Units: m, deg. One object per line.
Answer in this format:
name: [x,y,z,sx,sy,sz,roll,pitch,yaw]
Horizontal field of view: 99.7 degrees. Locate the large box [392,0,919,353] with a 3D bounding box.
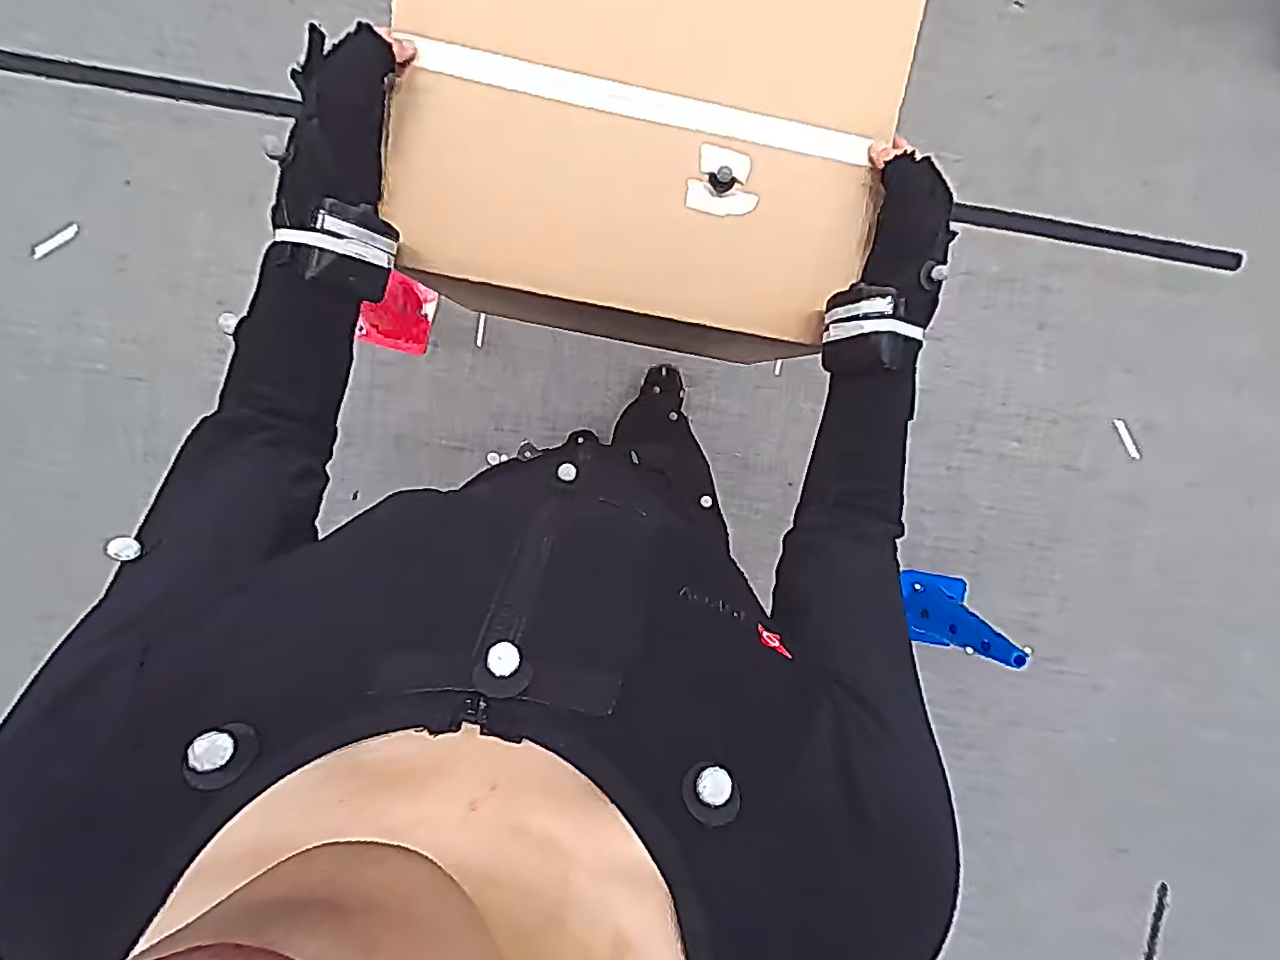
large box: [0.000,-0.332,0.583,0.408,0.320,0.320,9,100,-6]

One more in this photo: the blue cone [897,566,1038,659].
blue cone: [0.839,0.359,1.371,0.192,0.380,0.193,11,95,-4]

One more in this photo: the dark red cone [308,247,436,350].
dark red cone: [-0.623,-0.434,1.212,0.201,0.394,0.202,14,94,-4]
